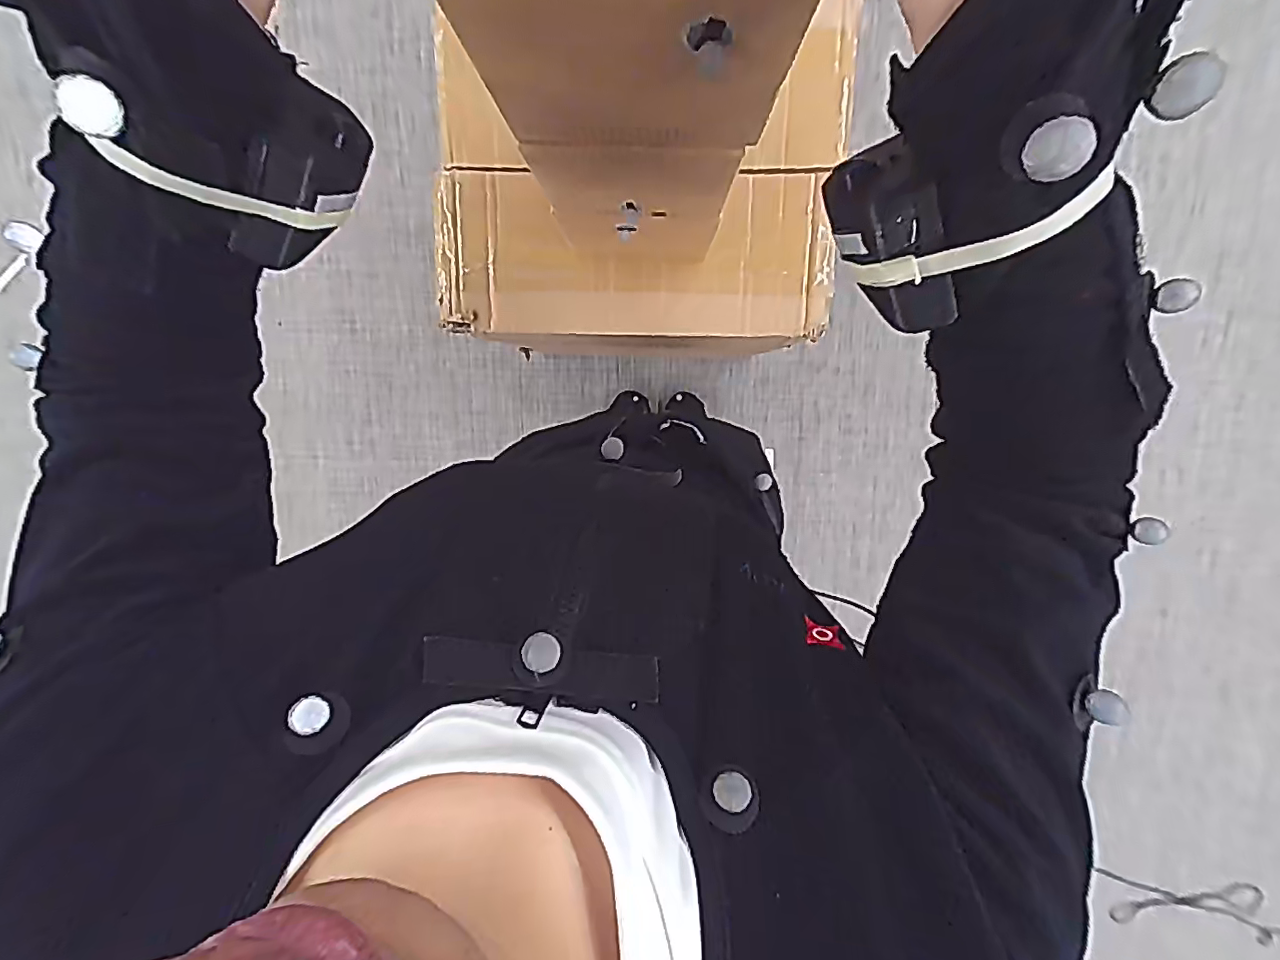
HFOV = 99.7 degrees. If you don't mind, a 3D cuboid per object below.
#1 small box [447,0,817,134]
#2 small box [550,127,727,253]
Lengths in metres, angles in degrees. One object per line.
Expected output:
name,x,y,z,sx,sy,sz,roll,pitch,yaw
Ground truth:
small box,-0.001,-0.310,0.286,0.179,0.176,0.168,2,100,1
small box,0.002,-0.364,0.611,0.179,0.176,0.168,3,100,1
